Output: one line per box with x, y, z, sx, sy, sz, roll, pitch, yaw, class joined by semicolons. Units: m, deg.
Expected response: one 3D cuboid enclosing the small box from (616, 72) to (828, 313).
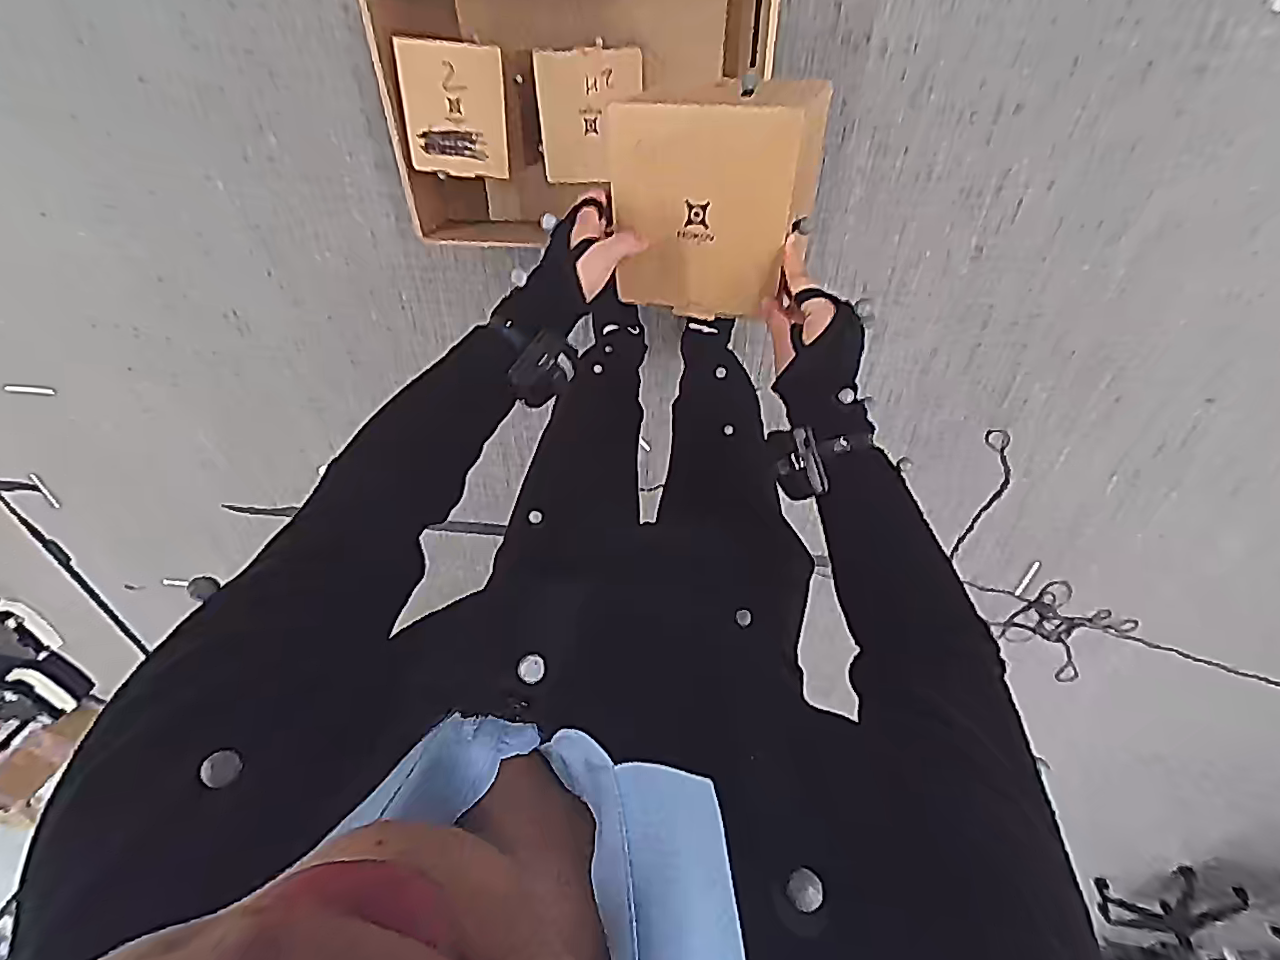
0.085;-0.294;0.543;0.168;0.176;0.179;13;135;16;small box

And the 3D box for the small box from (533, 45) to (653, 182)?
-0.066;-0.609;0.898;0.168;0.176;0.179;2;128;5;small box
